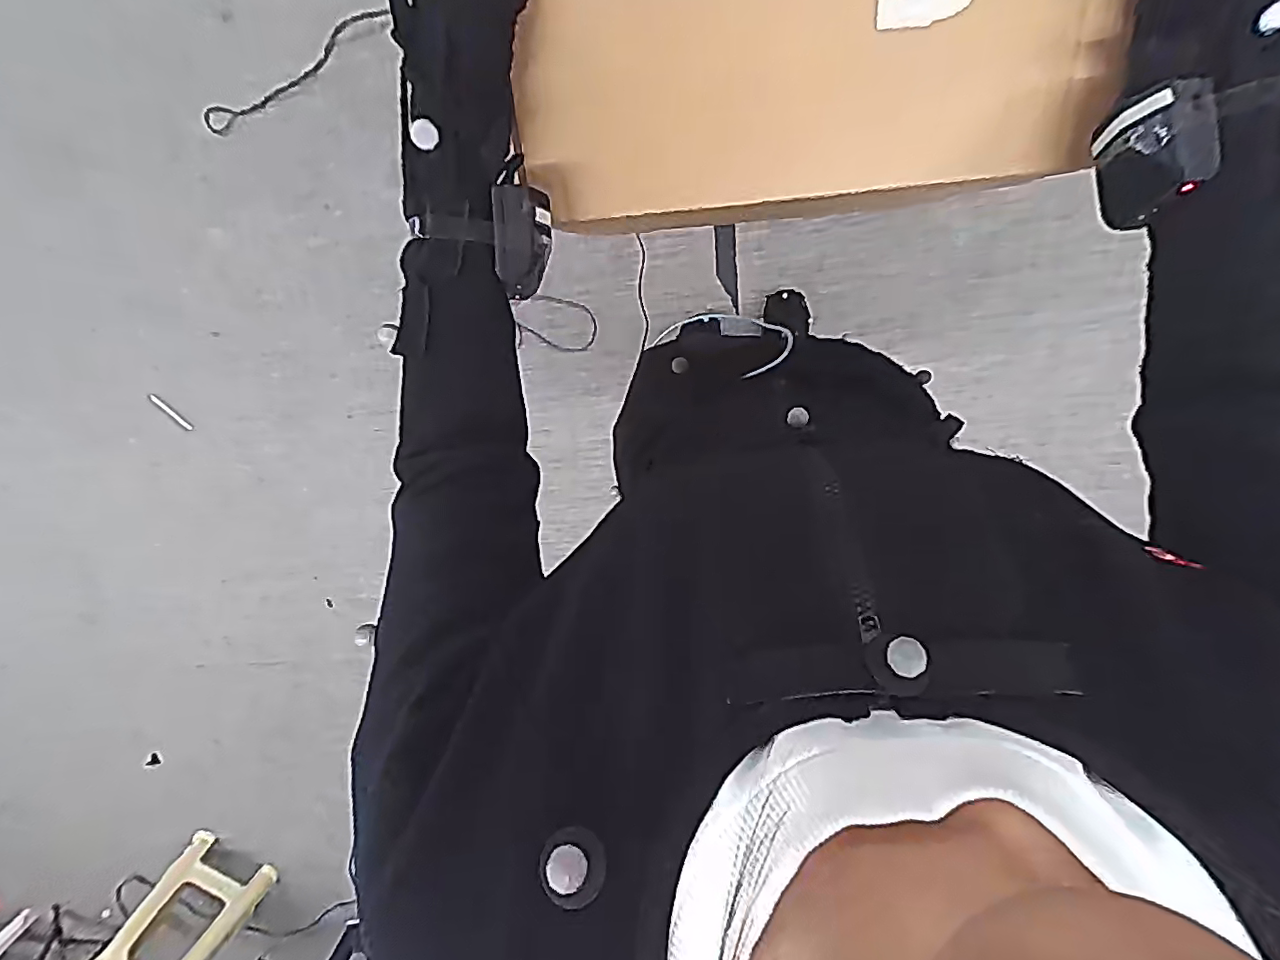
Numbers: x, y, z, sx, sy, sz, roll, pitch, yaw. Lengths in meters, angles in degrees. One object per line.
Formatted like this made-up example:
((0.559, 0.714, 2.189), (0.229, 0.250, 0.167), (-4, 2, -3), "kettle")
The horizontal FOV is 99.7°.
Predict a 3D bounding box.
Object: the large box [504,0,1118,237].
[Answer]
((0.106, -0.410, 0.474), (0.408, 0.320, 0.320), (-5, 113, 4), "large box")
